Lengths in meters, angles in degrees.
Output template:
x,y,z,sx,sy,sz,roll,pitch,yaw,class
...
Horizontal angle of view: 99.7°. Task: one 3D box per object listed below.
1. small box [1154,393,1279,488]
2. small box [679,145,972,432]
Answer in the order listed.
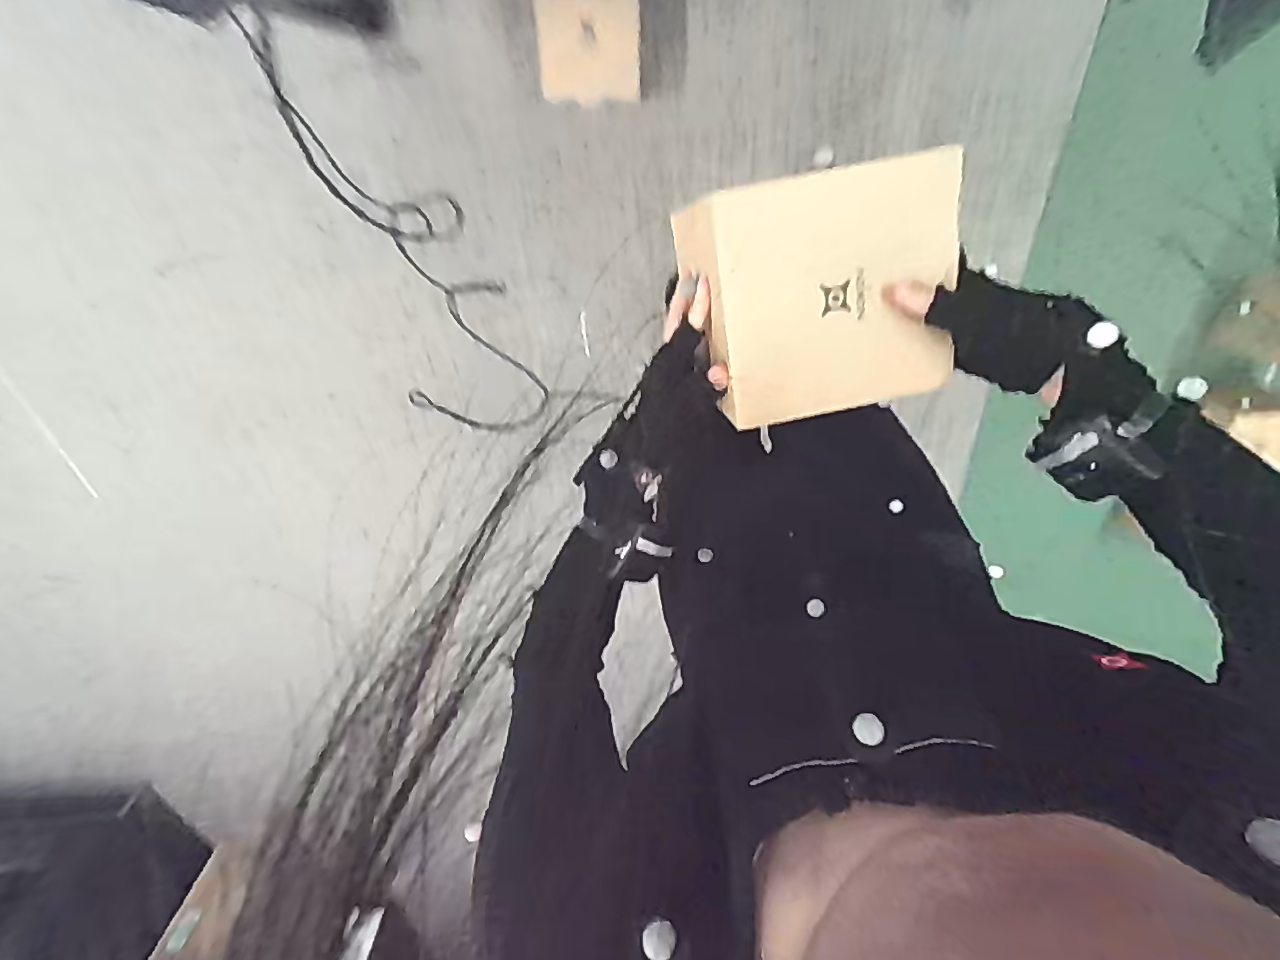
x,y,z,sx,sy,sz,roll,pitch,yaw,class
1.407,-0.097,1.296,0.179,0.176,0.168,-4,122,4,small box
0.134,-0.151,0.446,0.179,0.176,0.168,-12,111,-3,small box
